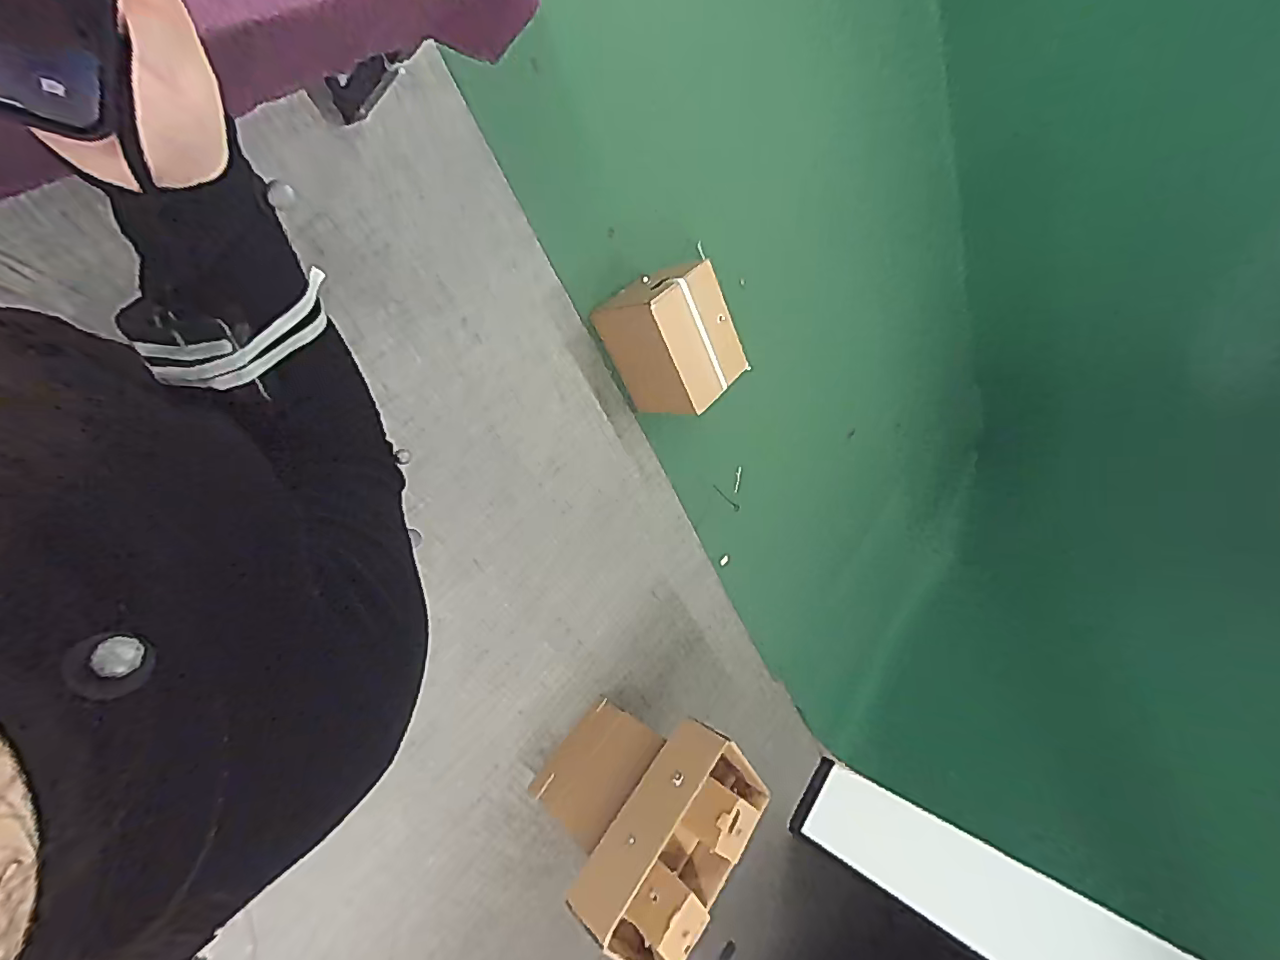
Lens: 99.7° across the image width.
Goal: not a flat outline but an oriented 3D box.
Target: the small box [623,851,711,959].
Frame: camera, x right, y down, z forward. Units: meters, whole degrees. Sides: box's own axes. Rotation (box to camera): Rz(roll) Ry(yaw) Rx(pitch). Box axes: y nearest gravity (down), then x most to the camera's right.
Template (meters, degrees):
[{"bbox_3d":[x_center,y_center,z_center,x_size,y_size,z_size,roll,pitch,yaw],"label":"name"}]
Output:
[{"bbox_3d":[0.078,1.257,1.612,0.168,0.176,0.179,-40,121,-29],"label":"small box"}]
